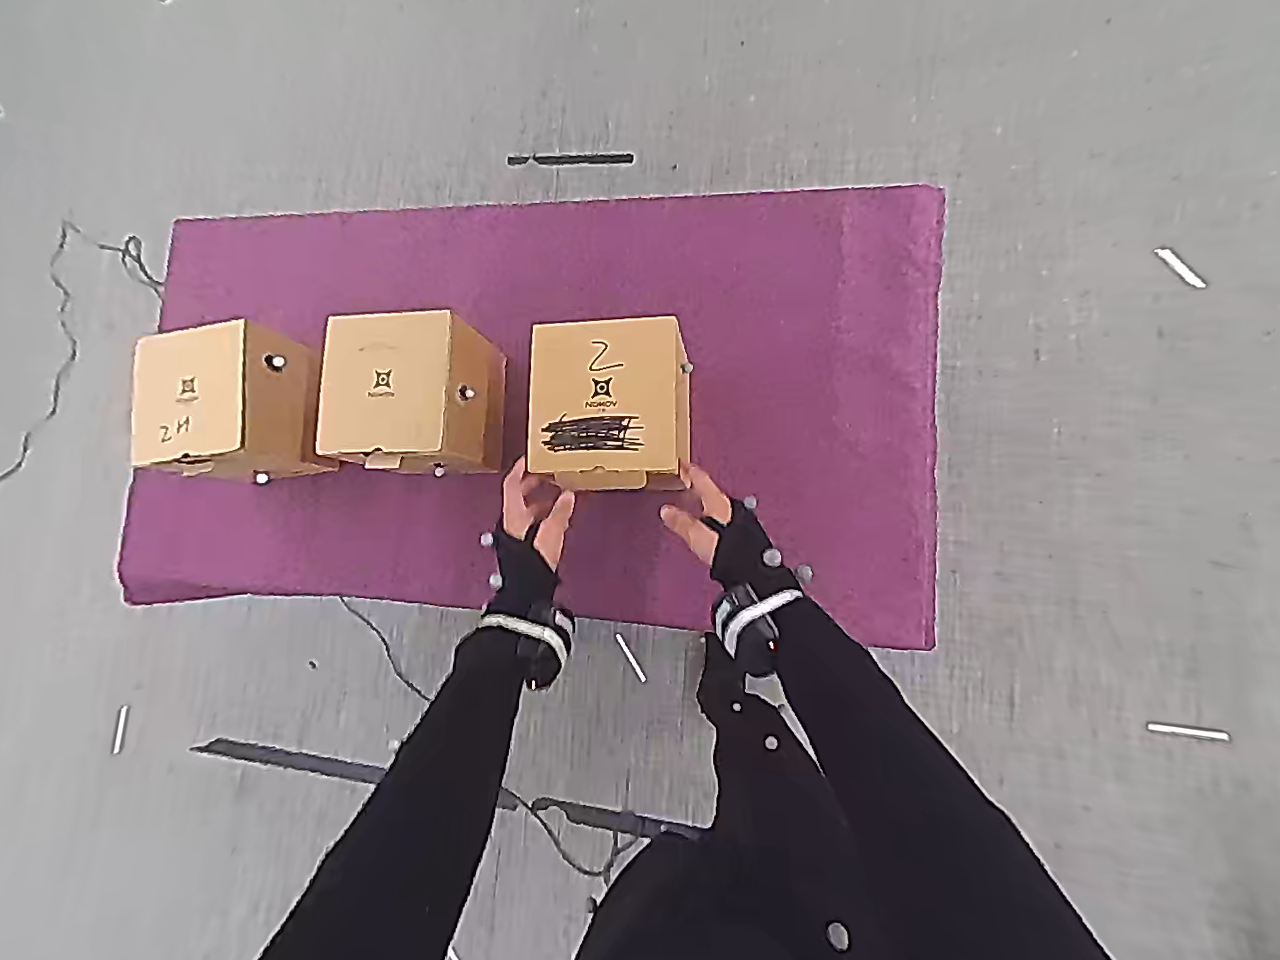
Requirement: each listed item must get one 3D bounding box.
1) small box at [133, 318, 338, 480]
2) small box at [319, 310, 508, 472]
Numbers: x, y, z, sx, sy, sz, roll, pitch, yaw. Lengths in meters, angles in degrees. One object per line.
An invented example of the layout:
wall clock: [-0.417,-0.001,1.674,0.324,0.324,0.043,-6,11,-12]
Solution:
small box: [-0.553,-0.103,0.762,0.168,0.176,0.179,-6,82,10]
small box: [-0.286,-0.106,0.717,0.168,0.176,0.179,1,83,9]
